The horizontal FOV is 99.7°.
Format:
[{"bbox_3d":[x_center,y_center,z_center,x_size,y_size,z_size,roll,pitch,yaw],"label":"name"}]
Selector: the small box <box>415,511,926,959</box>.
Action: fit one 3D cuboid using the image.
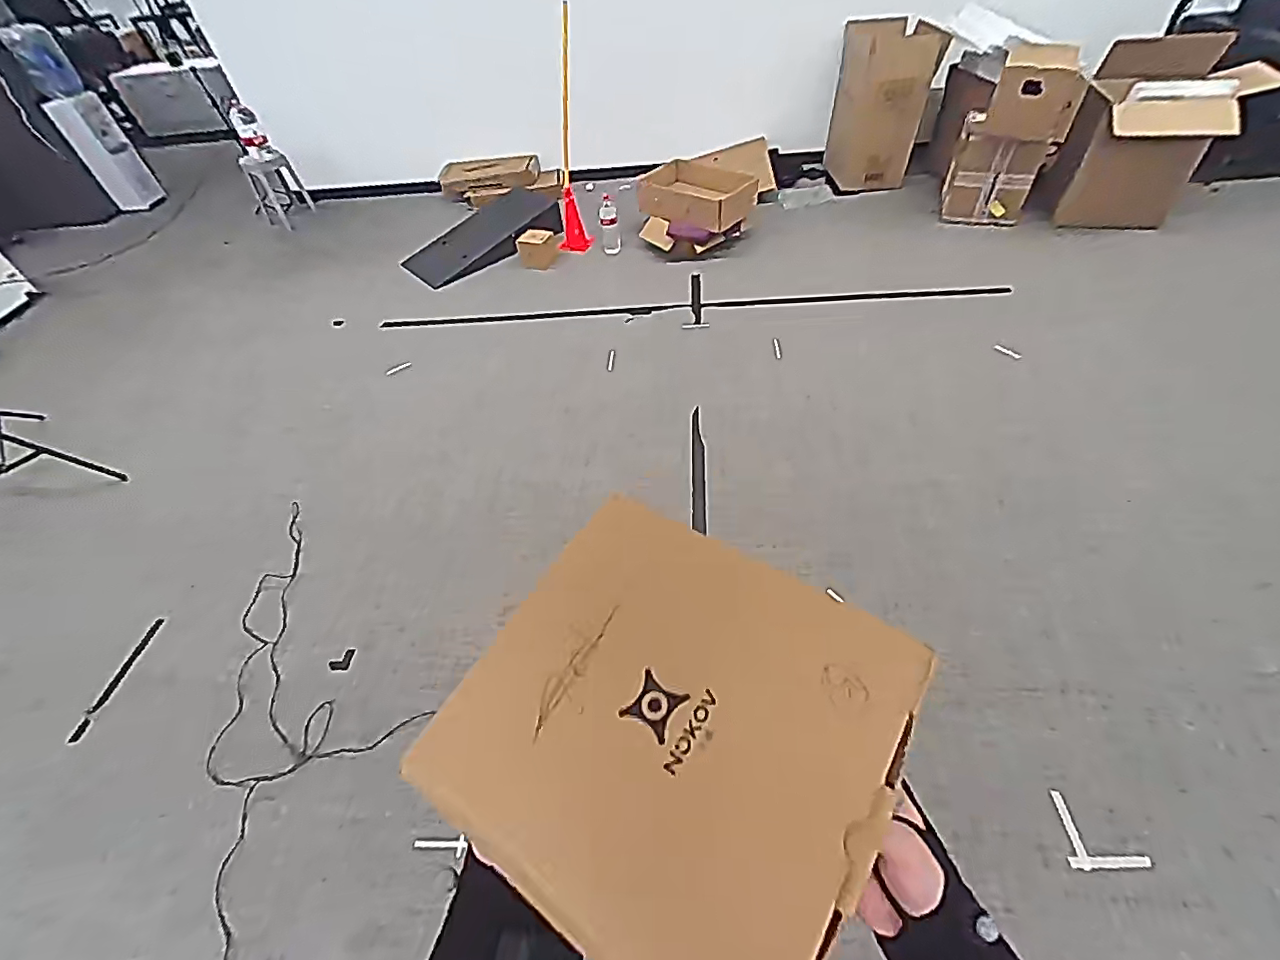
[{"bbox_3d":[0.025,0.152,0.303,0.179,0.176,0.168,23,62,26],"label":"small box"}]
